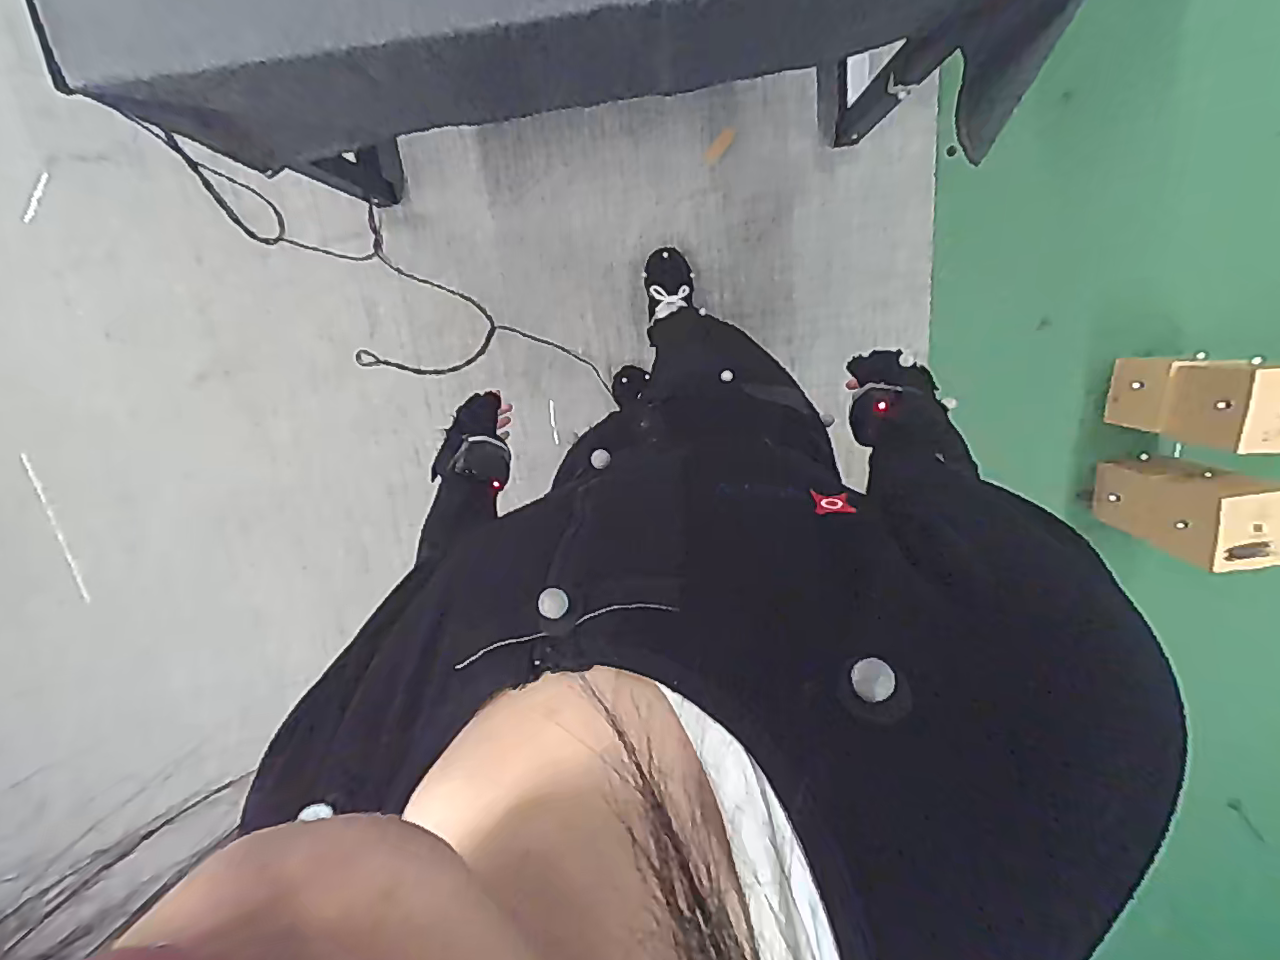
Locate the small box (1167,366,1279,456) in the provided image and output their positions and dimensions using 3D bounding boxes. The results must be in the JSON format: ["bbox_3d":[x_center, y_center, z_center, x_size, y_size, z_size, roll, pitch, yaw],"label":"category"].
[{"bbox_3d":[1.298,-0.154,1.160,0.168,0.176,0.179,-2,104,2],"label":"small box"}]

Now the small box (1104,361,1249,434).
[{"bbox_3d":[1.292,-0.204,1.318,0.179,0.176,0.168,-1,104,1],"label":"small box"}]
